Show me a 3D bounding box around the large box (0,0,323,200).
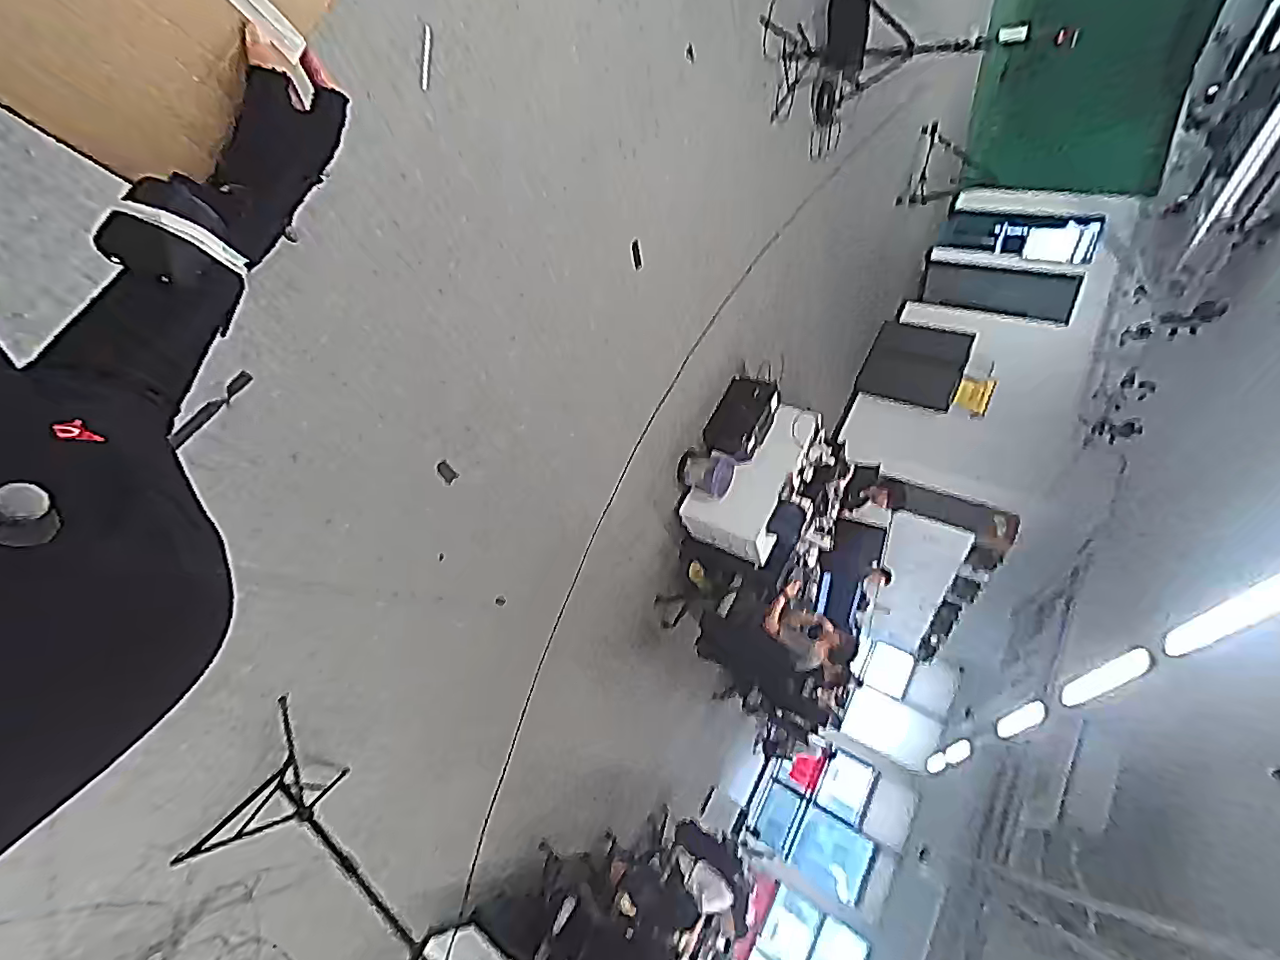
[{"bbox_3d":[-0.468,-0.465,0.320,0.320,0.320,0.408,-57,155,0],"label":"large box"}]
